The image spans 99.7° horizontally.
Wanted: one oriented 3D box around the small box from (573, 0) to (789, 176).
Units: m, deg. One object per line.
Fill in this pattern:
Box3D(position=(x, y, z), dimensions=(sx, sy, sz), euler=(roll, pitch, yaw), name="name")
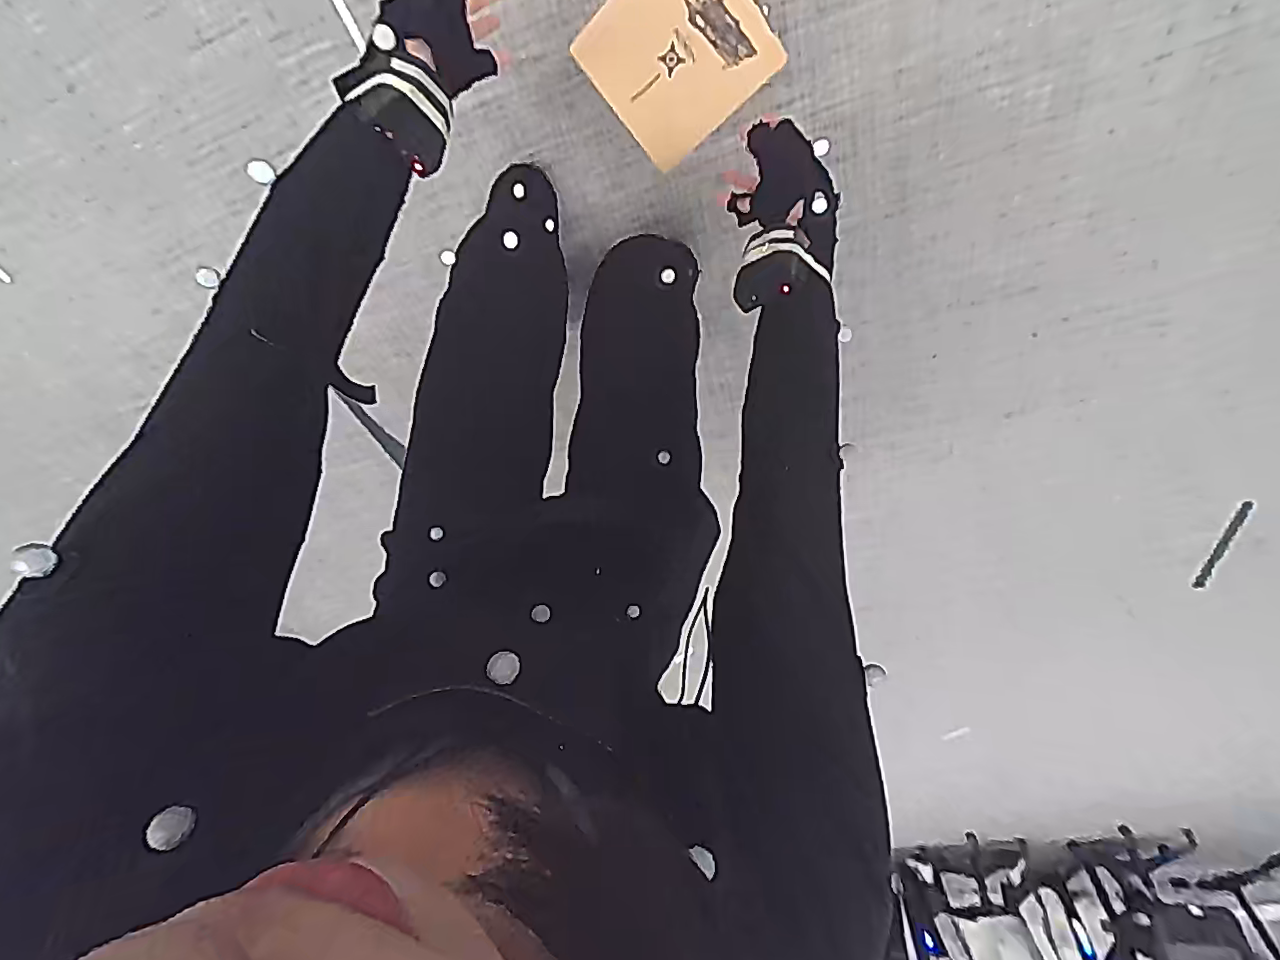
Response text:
Box3D(position=(0.045, -0.505, 0.628), dimensions=(0.179, 0.176, 0.168), euler=(-31, 126, 29), name="small box")
